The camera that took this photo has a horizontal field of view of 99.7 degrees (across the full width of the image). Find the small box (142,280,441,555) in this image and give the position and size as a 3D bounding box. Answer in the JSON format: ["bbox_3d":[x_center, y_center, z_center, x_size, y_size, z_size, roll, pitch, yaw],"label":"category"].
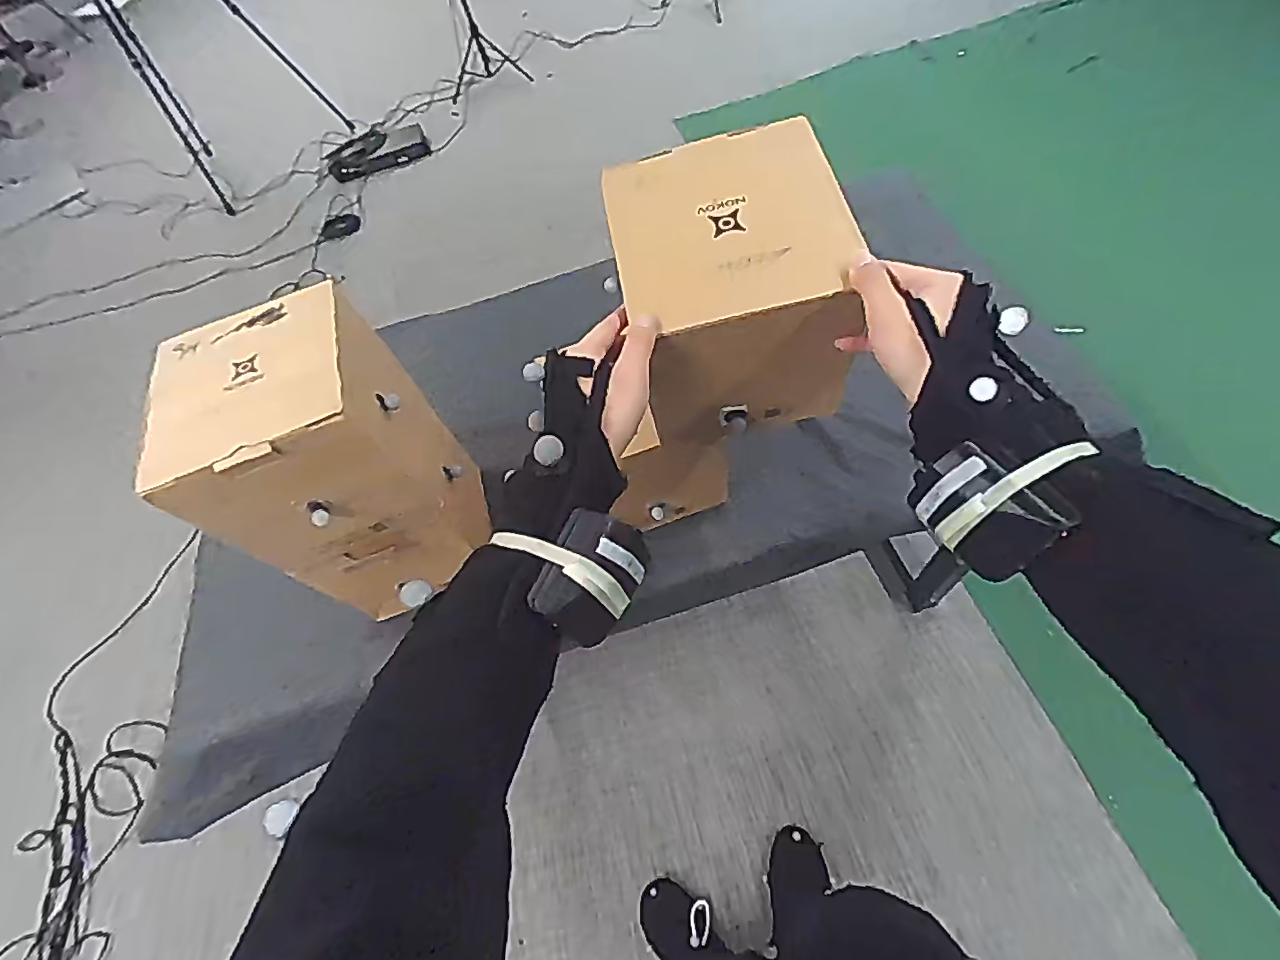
[{"bbox_3d":[-0.310,-0.046,0.515,0.168,0.176,0.179,-22,59,-3],"label":"small box"}]

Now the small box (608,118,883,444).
[{"bbox_3d":[0.077,-0.155,0.459,0.168,0.176,0.179,-12,65,5],"label":"small box"}]

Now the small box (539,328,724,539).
[{"bbox_3d":[-0.006,-0.057,0.654,0.168,0.176,0.179,-20,58,-1],"label":"small box"}]

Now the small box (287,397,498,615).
[{"bbox_3d":[-0.290,0.036,0.655,0.168,0.176,0.179,-21,58,-2],"label":"small box"}]
